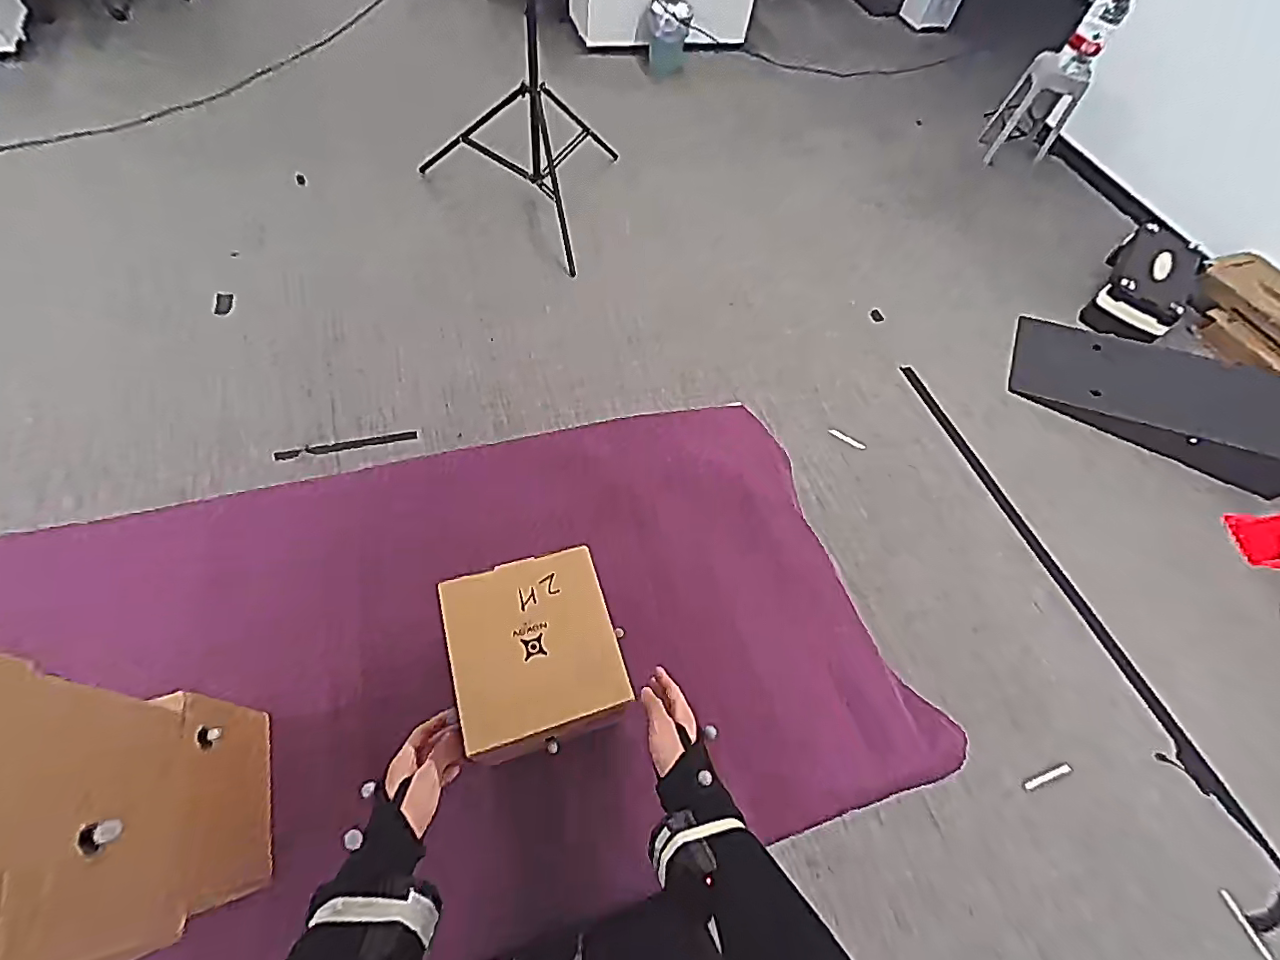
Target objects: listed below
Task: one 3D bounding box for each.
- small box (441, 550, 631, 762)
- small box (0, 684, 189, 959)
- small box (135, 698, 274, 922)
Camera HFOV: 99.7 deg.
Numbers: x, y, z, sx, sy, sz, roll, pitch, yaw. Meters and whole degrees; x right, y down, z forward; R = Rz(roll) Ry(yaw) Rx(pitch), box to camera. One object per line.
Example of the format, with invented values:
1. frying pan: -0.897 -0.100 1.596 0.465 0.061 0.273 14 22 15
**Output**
1. small box: -0.118 0.209 0.625 0.168 0.176 0.179 -14 62 -15
2. small box: -0.442 0.263 0.360 0.168 0.176 0.179 -18 64 -18
3. small box: -0.471 0.329 0.508 0.168 0.176 0.179 -14 62 -15
